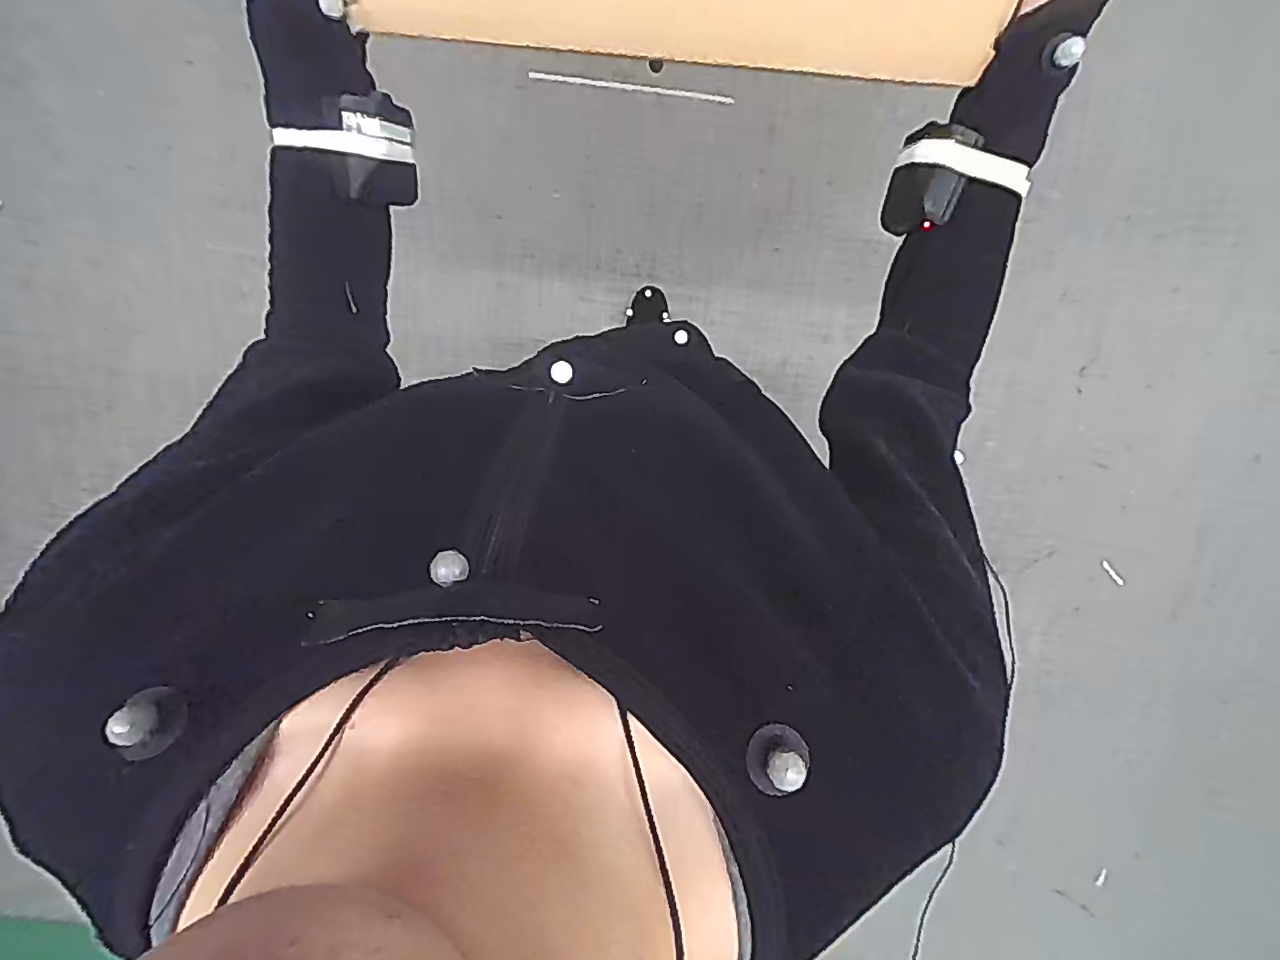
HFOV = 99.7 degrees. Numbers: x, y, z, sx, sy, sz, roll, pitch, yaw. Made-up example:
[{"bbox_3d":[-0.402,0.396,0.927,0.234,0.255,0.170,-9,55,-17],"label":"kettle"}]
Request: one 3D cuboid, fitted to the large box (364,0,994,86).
[{"bbox_3d":[0.029,-0.488,0.365,0.408,0.320,0.320,0,131,-6],"label":"large box"}]
